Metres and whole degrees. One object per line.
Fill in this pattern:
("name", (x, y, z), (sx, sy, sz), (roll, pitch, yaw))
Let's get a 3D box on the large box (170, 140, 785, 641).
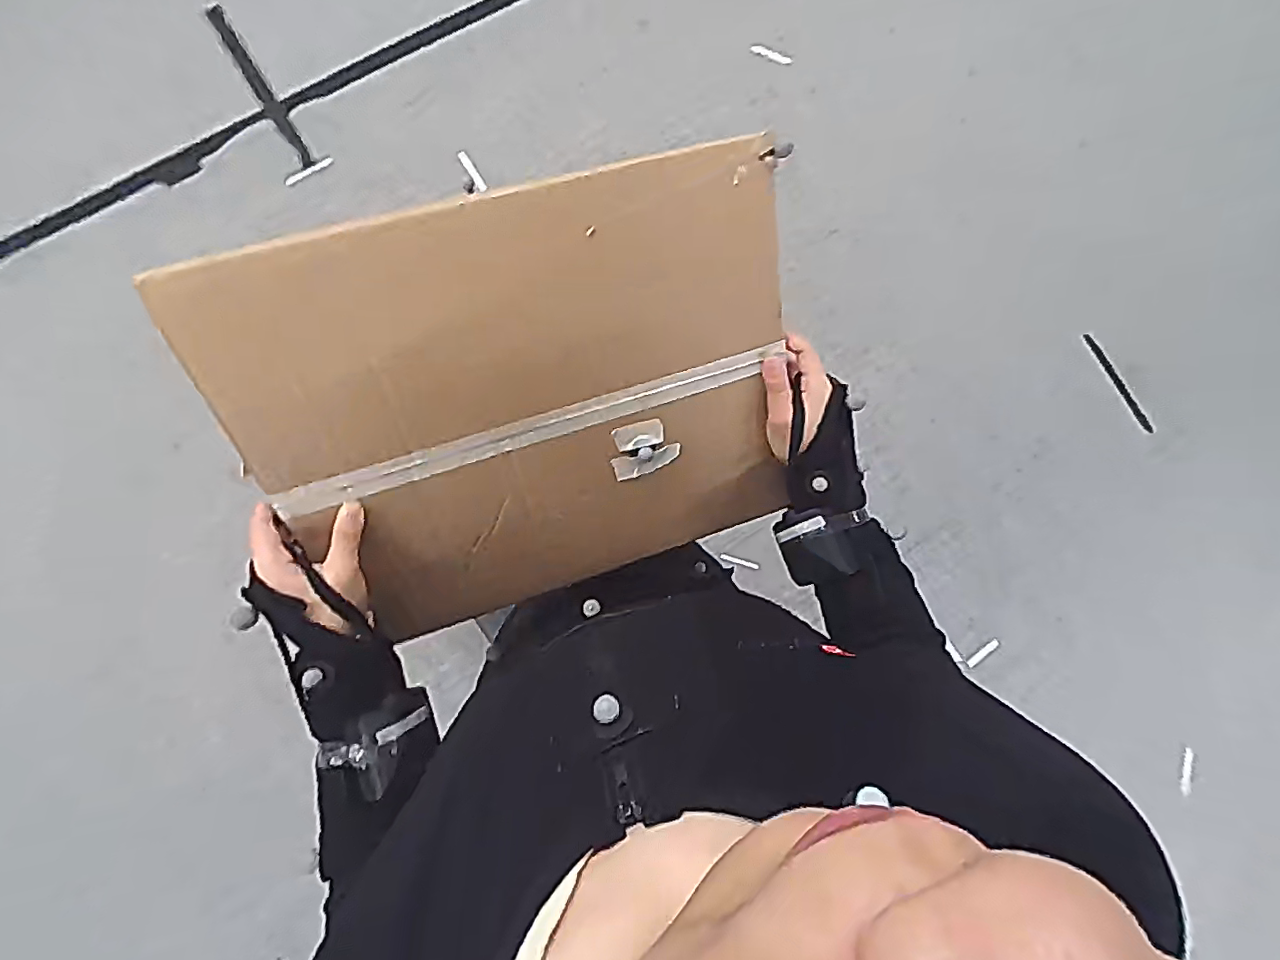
("large box", (-0.117, -0.114, 0.555), (0.408, 0.320, 0.320), (-19, 122, -10))
